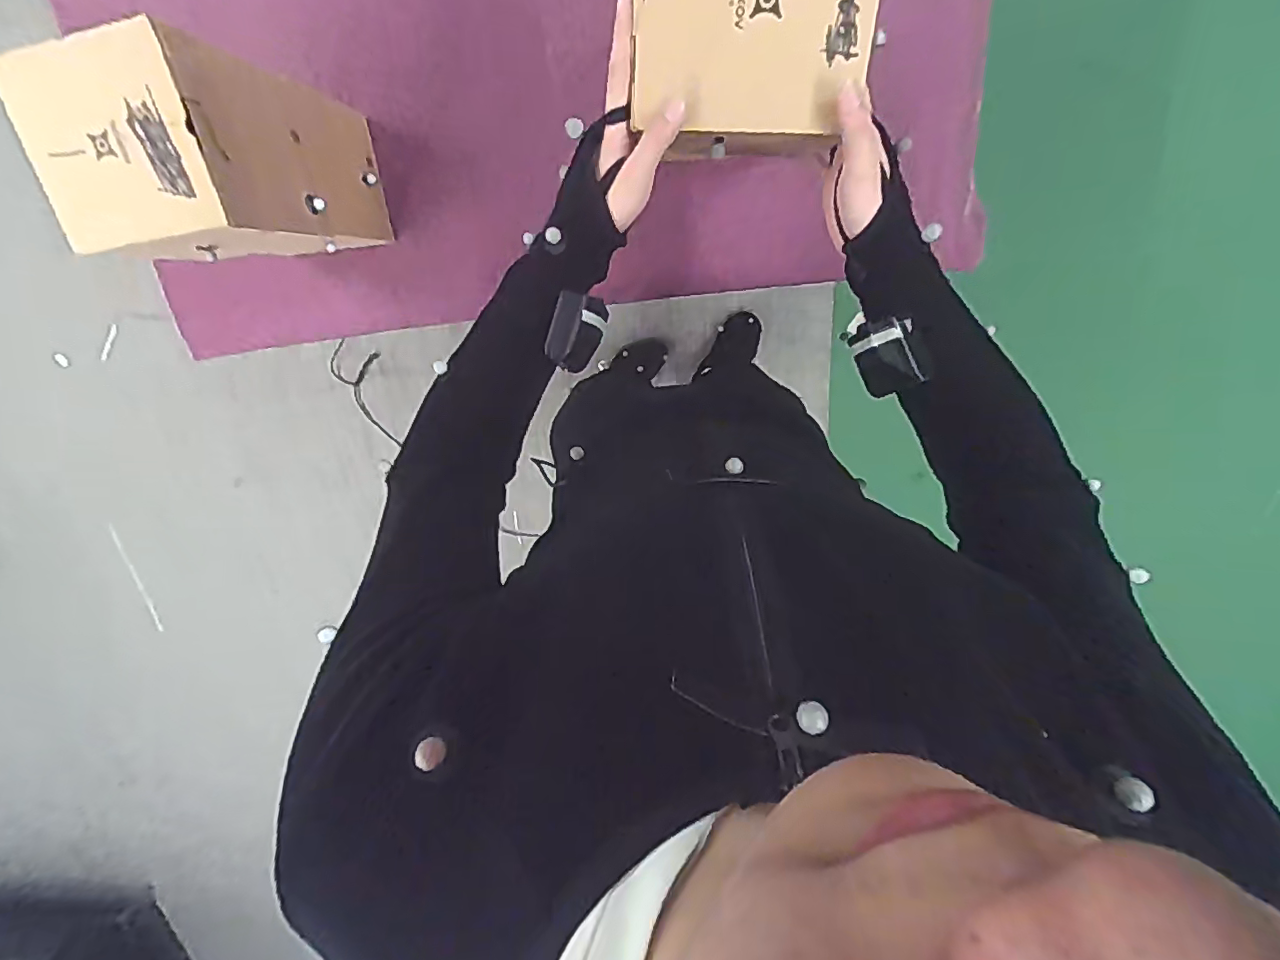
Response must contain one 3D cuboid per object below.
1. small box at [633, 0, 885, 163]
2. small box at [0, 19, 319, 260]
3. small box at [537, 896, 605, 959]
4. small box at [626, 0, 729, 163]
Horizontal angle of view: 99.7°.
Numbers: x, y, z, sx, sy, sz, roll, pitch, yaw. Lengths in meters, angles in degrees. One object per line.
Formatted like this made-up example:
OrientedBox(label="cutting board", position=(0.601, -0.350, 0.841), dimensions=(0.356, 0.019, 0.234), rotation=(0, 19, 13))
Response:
OrientedBox(label="small box", position=(0.092, -0.372, 0.457), dimensions=(0.179, 0.176, 0.168), rotation=(4, 116, 3))
OrientedBox(label="small box", position=(-0.471, -0.328, 0.559), dimensions=(0.179, 0.176, 0.168), rotation=(-6, 110, 7))
OrientedBox(label="small box", position=(-0.212, 1.460, 1.713), dimensions=(0.179, 0.176, 0.168), rotation=(-2, 111, 5))
OrientedBox(label="small box", position=(0.079, -0.483, 0.636), dimensions=(0.179, 0.176, 0.168), rotation=(1, 111, 5))
